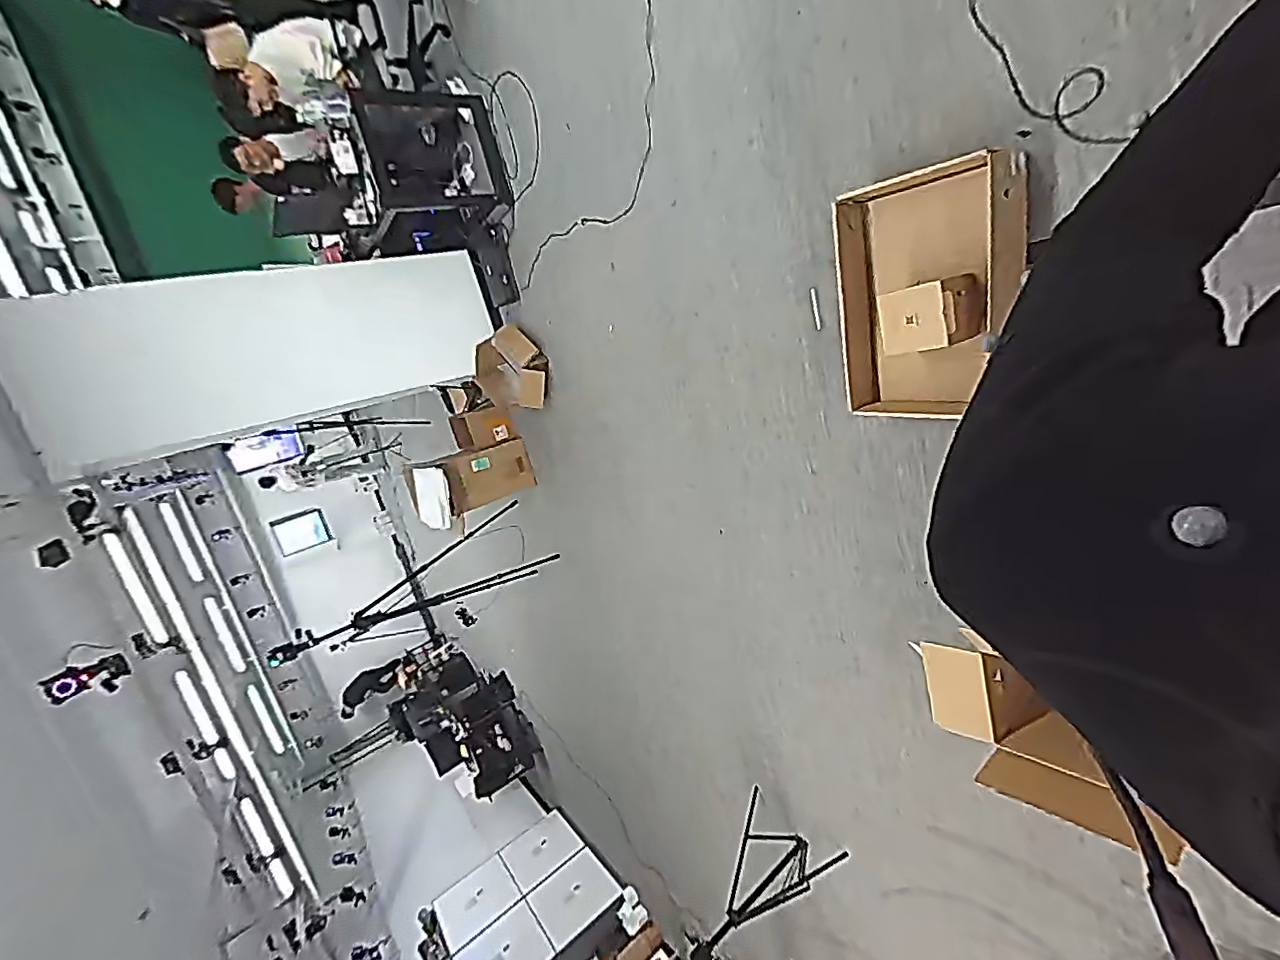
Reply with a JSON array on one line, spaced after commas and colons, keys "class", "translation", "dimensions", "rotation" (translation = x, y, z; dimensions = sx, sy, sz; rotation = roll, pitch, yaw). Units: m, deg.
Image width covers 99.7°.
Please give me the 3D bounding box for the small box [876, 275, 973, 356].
[{"class": "small box", "translation": [0.762, -0.438, 1.439], "dimensions": [0.179, 0.176, 0.168], "rotation": [5, 112, 55]}]
